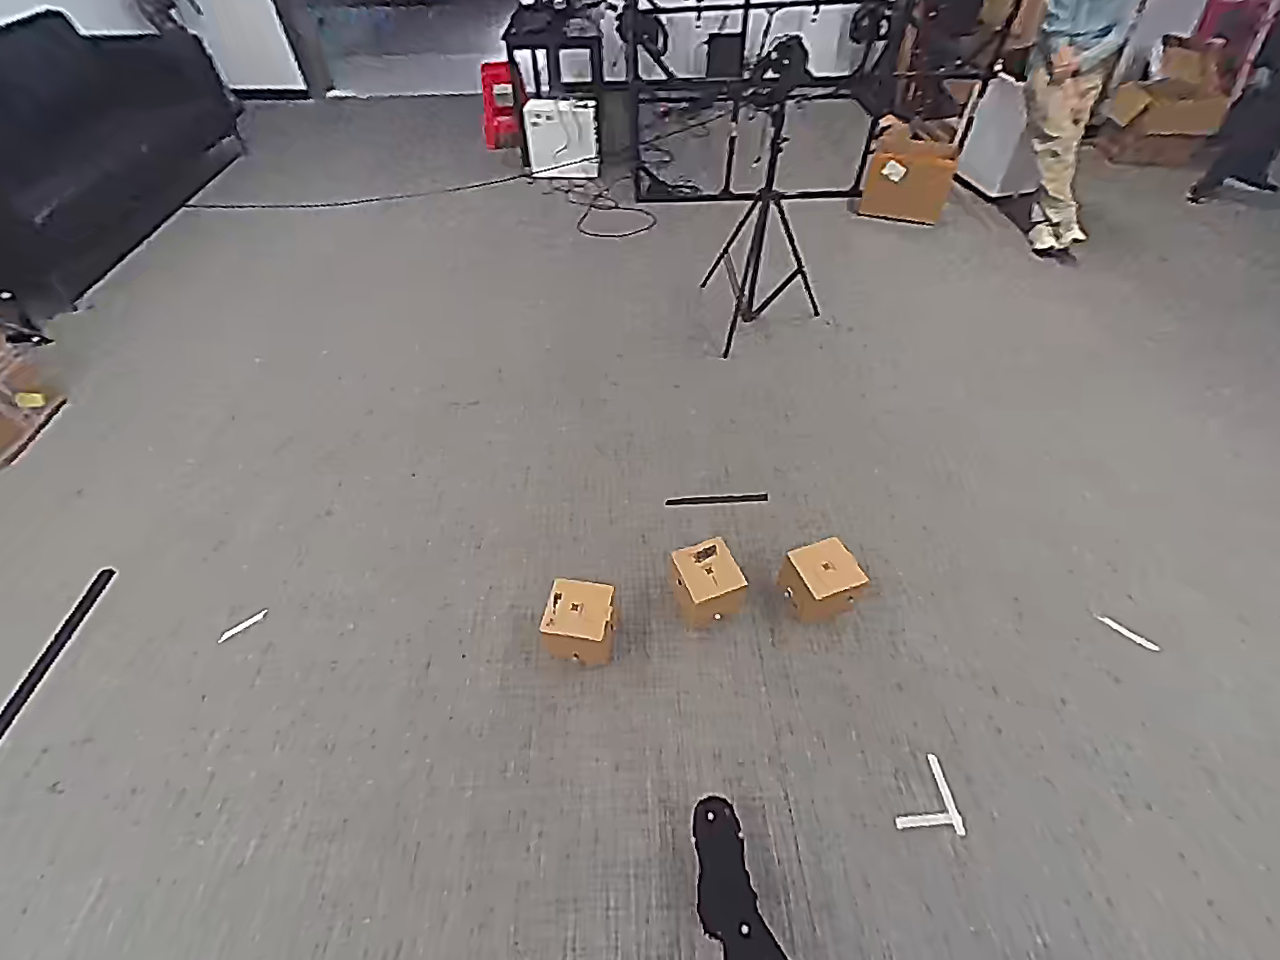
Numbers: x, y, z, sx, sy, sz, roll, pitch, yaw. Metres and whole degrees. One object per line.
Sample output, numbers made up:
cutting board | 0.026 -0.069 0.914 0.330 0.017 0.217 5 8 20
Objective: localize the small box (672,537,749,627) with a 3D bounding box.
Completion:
small box | 0.199 0.304 1.601 0.168 0.176 0.179 -17 52 -13

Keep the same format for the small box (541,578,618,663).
small box | -0.162 0.401 1.529 0.179 0.176 0.168 8 50 8

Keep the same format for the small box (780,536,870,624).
small box | 0.540 0.298 1.602 0.179 0.176 0.168 -17 50 -12
